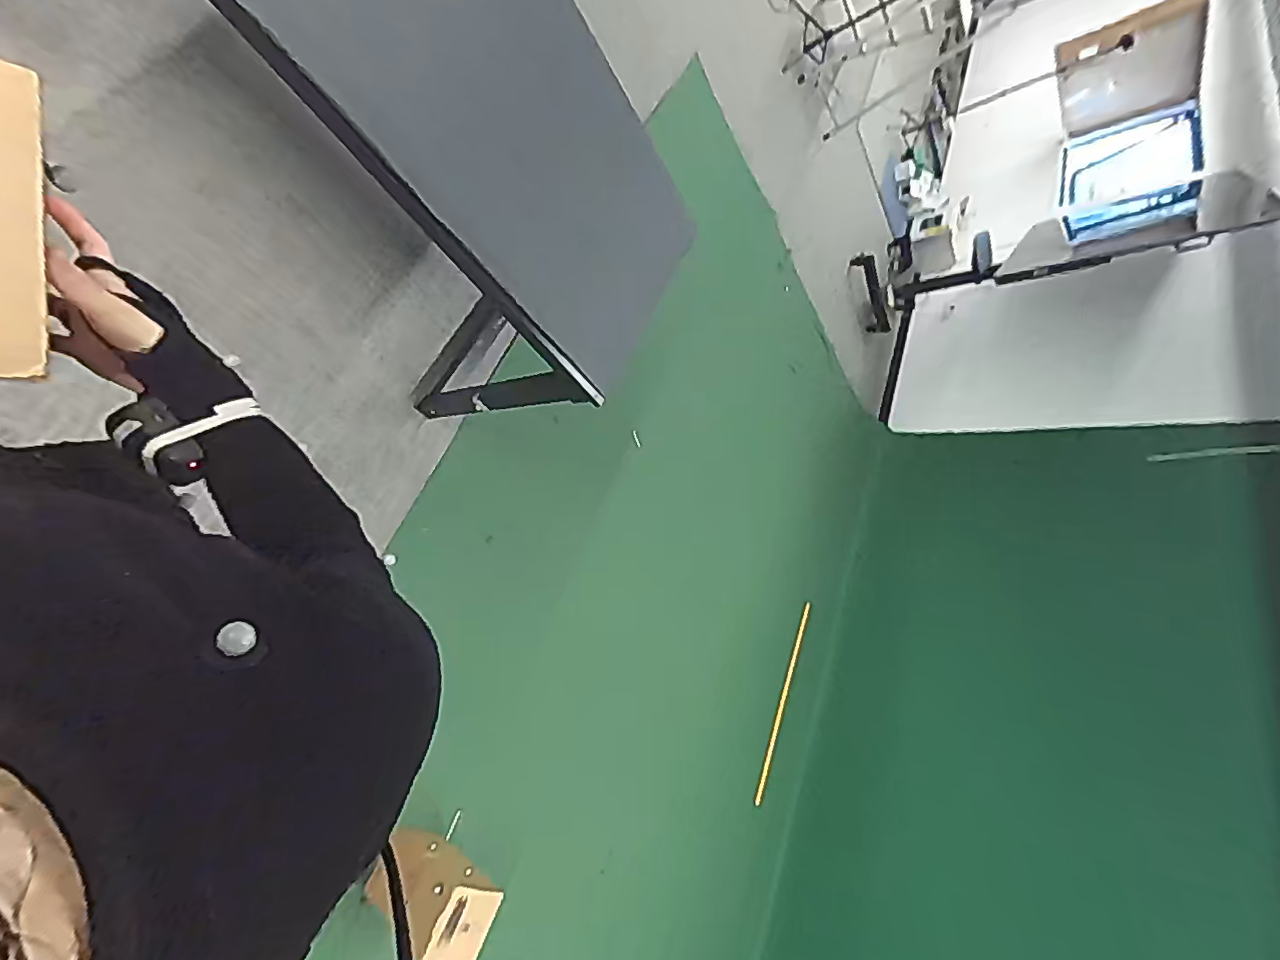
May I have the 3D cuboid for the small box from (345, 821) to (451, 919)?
[{"bbox_3d":[-0.679,1.090,1.519,0.179,0.176,0.168,48,57,-39],"label":"small box"}]

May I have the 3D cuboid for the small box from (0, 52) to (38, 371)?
[{"bbox_3d":[-0.467,-0.162,0.304,0.168,0.176,0.179,0,99,-50],"label":"small box"}]
